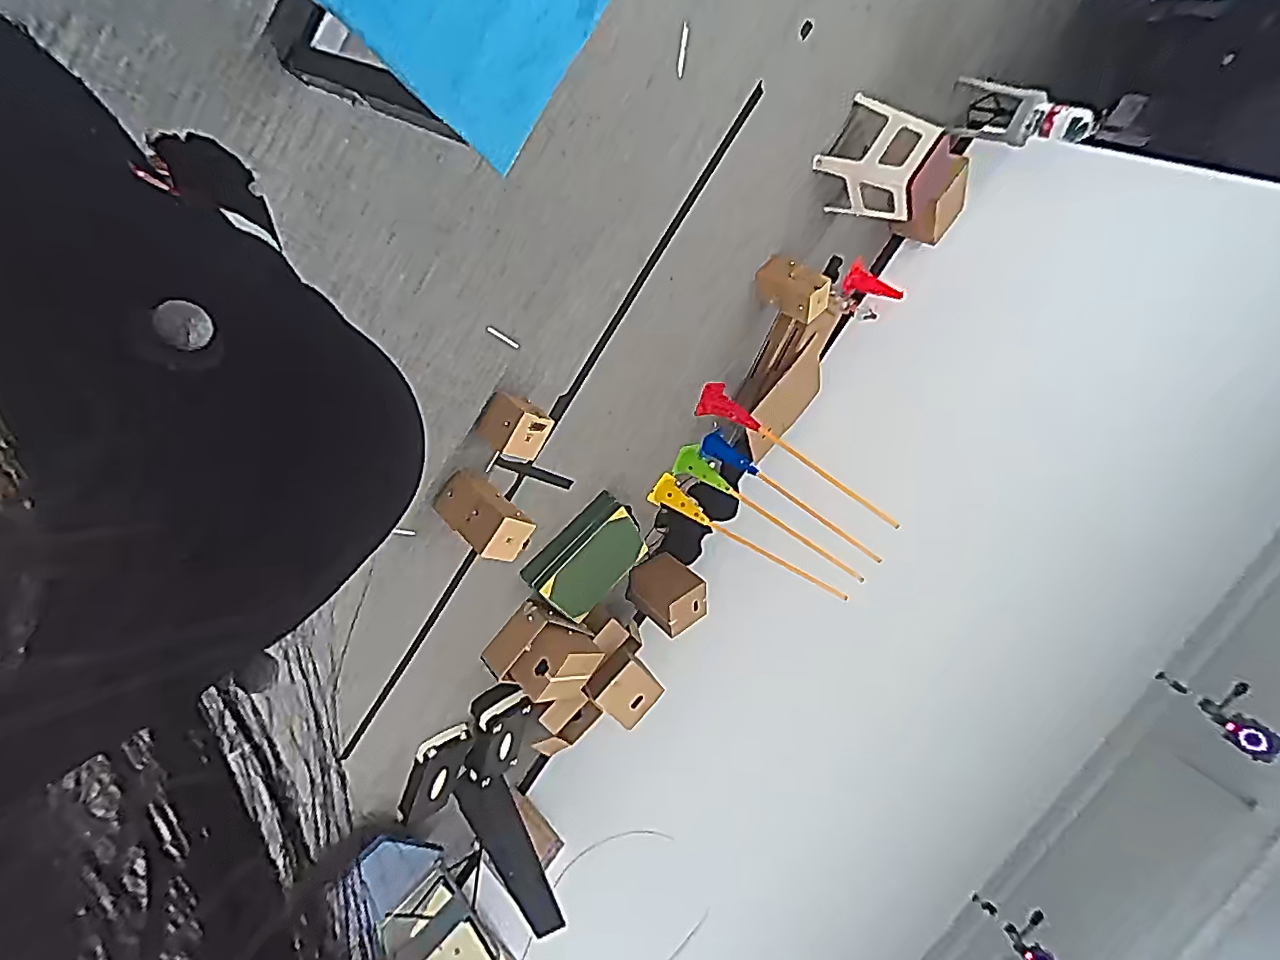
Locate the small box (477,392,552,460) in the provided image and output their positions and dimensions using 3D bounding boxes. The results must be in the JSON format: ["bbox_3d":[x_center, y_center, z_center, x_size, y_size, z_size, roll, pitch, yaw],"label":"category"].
[{"bbox_3d":[-0.466,-0.200,1.989,0.168,0.176,0.179,13,111,-58],"label":"small box"}]

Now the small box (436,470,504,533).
[{"bbox_3d":[-0.643,0.092,2.049,0.179,0.176,0.168,-54,151,4],"label":"small box"}]

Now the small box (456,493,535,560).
[{"bbox_3d":[-0.526,0.169,1.965,0.168,0.176,0.179,-56,149,3],"label":"small box"}]
